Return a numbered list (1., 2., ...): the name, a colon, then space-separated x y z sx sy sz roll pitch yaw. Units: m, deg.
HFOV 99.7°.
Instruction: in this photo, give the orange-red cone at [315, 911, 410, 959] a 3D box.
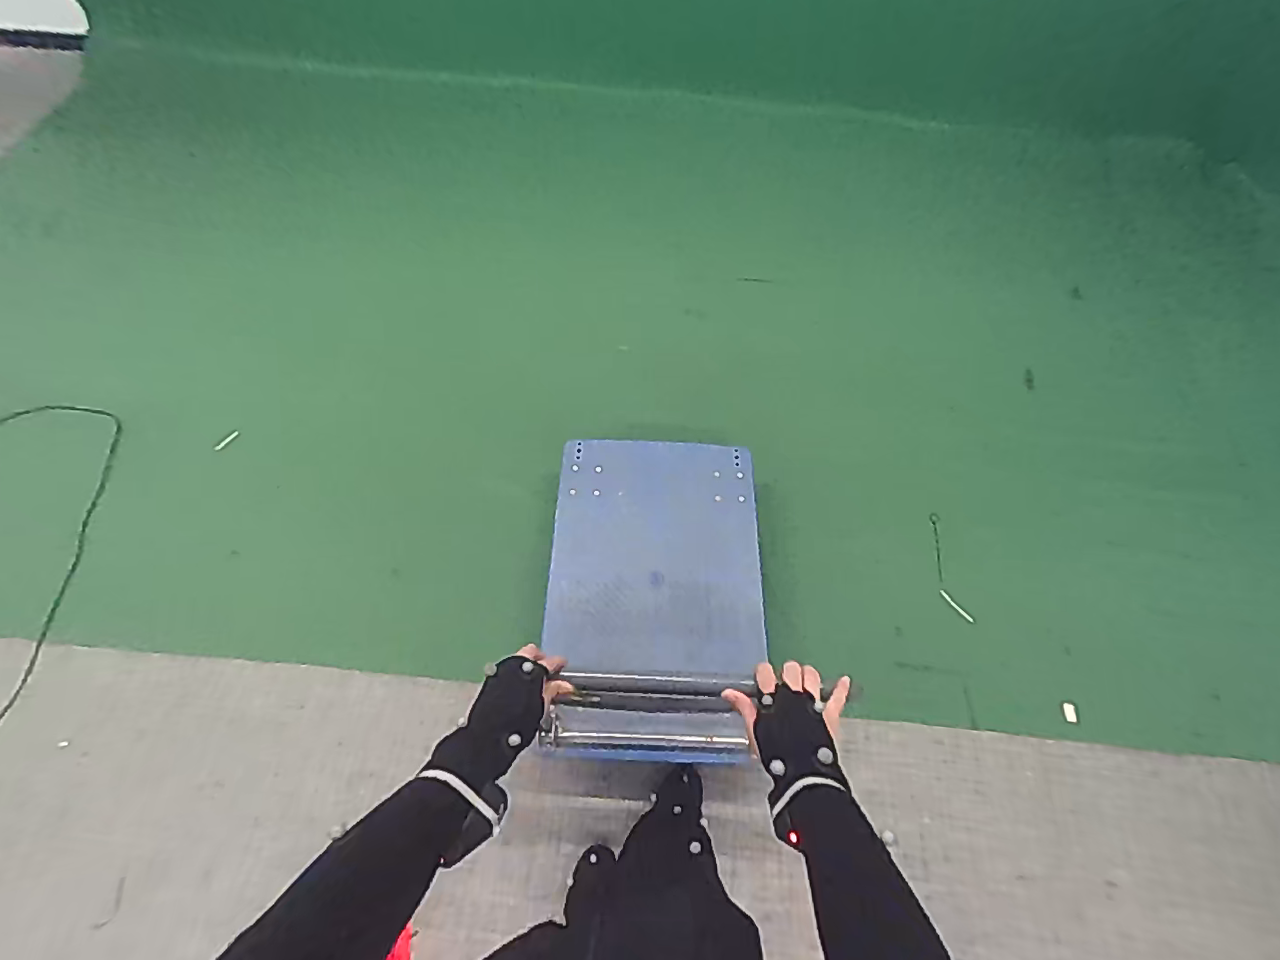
1. orange-red cone: -0.602 0.981 1.017 0.199 0.360 0.198 -8 61 -5
